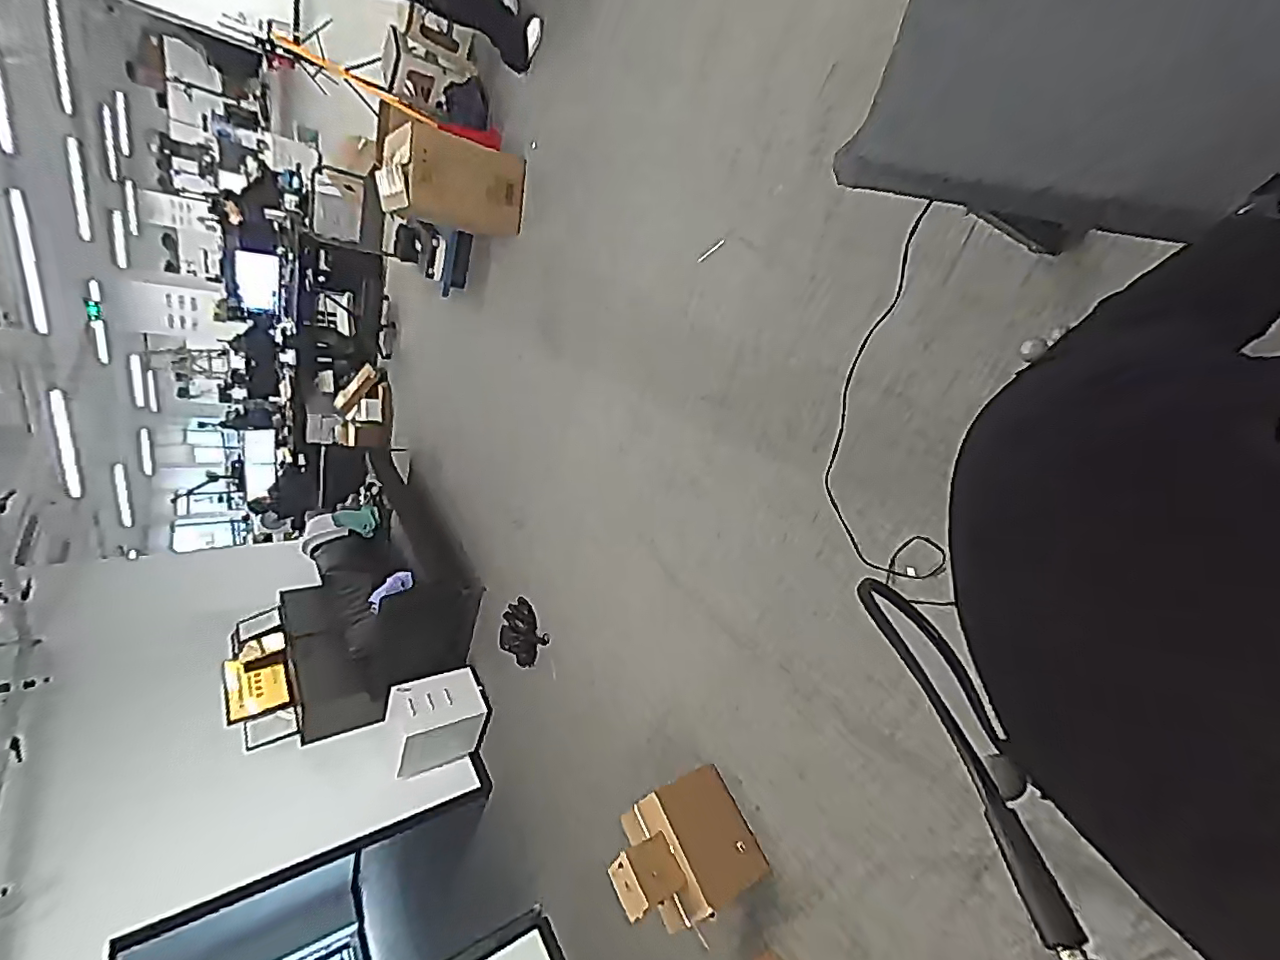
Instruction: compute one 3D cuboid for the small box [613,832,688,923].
[{"bbox_3d":[0.039,1.380,1.887,0.179,0.176,0.168,51,129,35],"label":"small box"}]
